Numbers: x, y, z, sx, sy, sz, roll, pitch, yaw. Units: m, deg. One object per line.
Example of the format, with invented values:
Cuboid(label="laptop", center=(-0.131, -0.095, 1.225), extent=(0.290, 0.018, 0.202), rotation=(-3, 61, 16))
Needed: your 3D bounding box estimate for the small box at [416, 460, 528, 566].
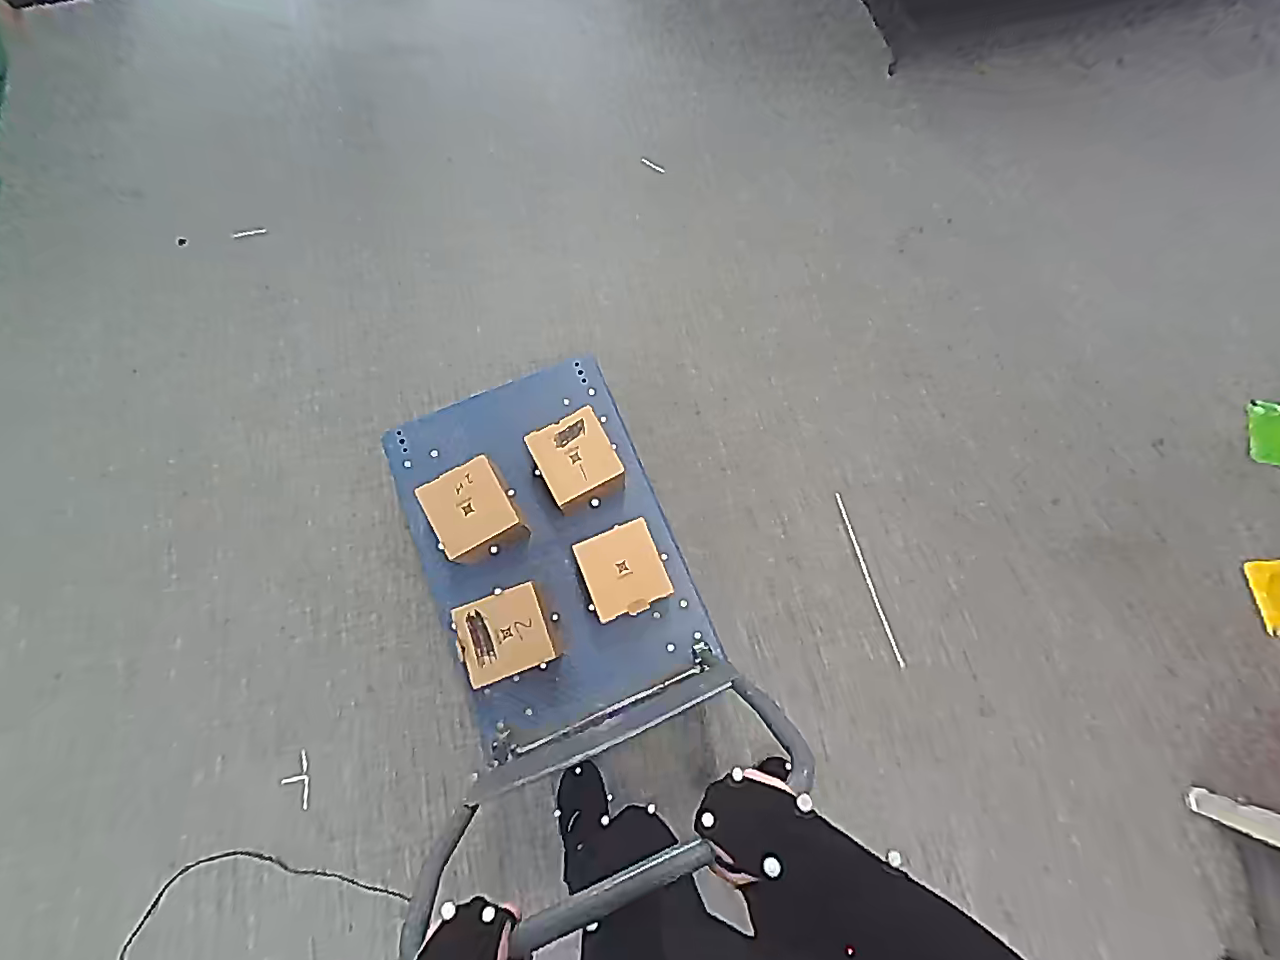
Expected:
Cuboid(label="small box", center=(-0.371, 0.083, 1.228), extent=(0.168, 0.176, 0.179), rotation=(-29, 79, -9))

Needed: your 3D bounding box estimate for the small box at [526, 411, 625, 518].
Cuboid(label="small box", center=(-0.146, -0.029, 1.261), extent=(0.168, 0.176, 0.179), rotation=(-28, 80, -7))

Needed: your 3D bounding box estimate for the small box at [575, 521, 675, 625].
Cuboid(label="small box", center=(-0.037, 0.211, 1.209), extent=(0.168, 0.176, 0.179), rotation=(-22, 79, -6))
